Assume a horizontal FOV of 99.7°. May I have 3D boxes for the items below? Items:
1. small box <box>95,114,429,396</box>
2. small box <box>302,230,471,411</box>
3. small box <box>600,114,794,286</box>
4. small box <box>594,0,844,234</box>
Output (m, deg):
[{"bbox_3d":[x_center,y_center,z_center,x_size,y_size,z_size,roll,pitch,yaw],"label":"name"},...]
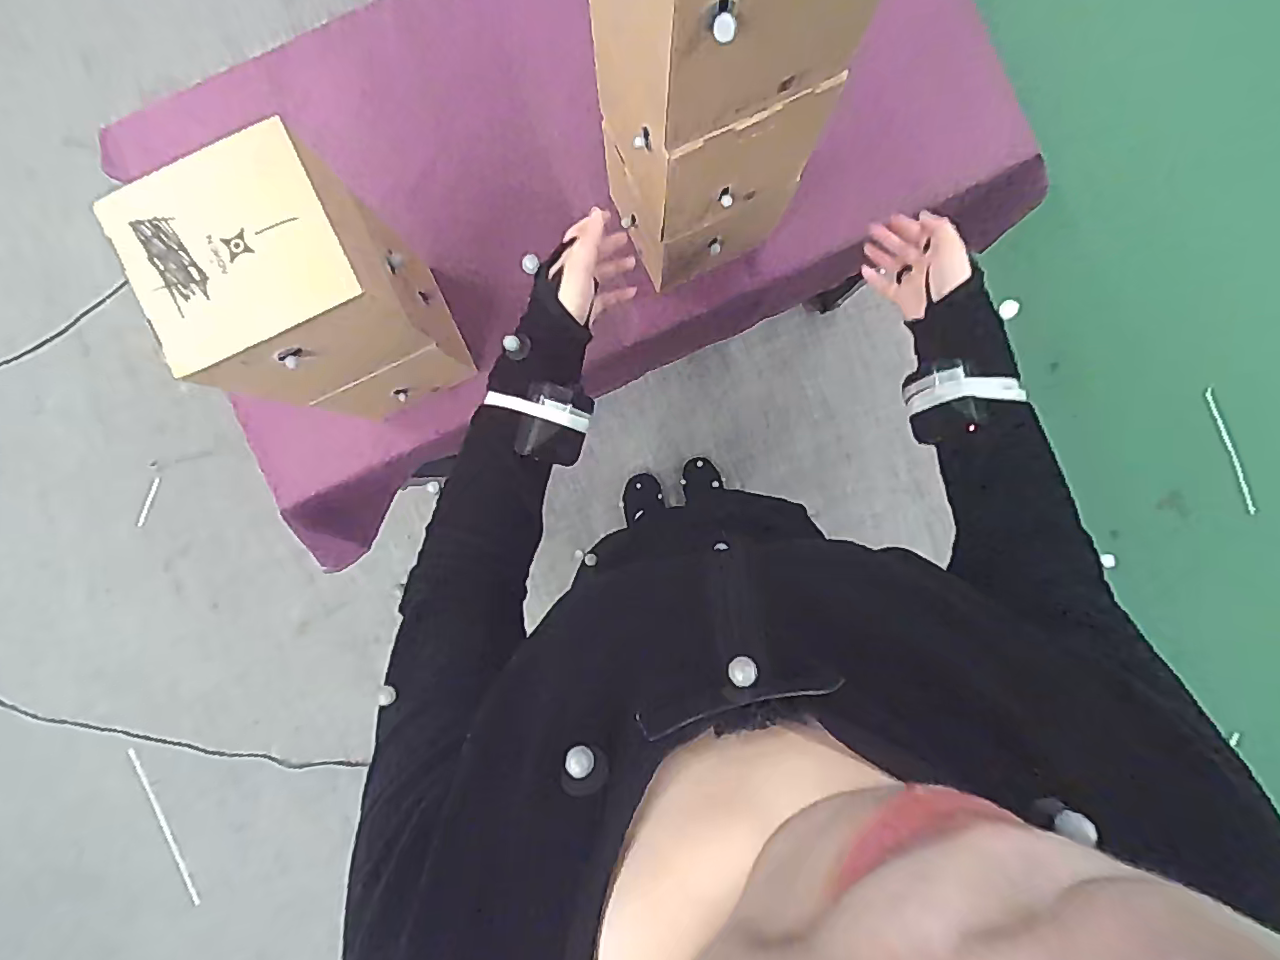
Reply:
[{"bbox_3d":[-0.344,-0.197,0.530,0.179,0.176,0.168,-25,91,0],"label":"small box"},{"bbox_3d":[-0.343,-0.199,0.694,0.168,0.176,0.179,-25,90,0],"label":"small box"},{"bbox_3d":[0.067,-0.378,0.692,0.179,0.176,0.168,-26,90,1],"label":"small box"},{"bbox_3d":[0.062,-0.382,0.529,0.168,0.176,0.179,-25,91,0],"label":"small box"}]
